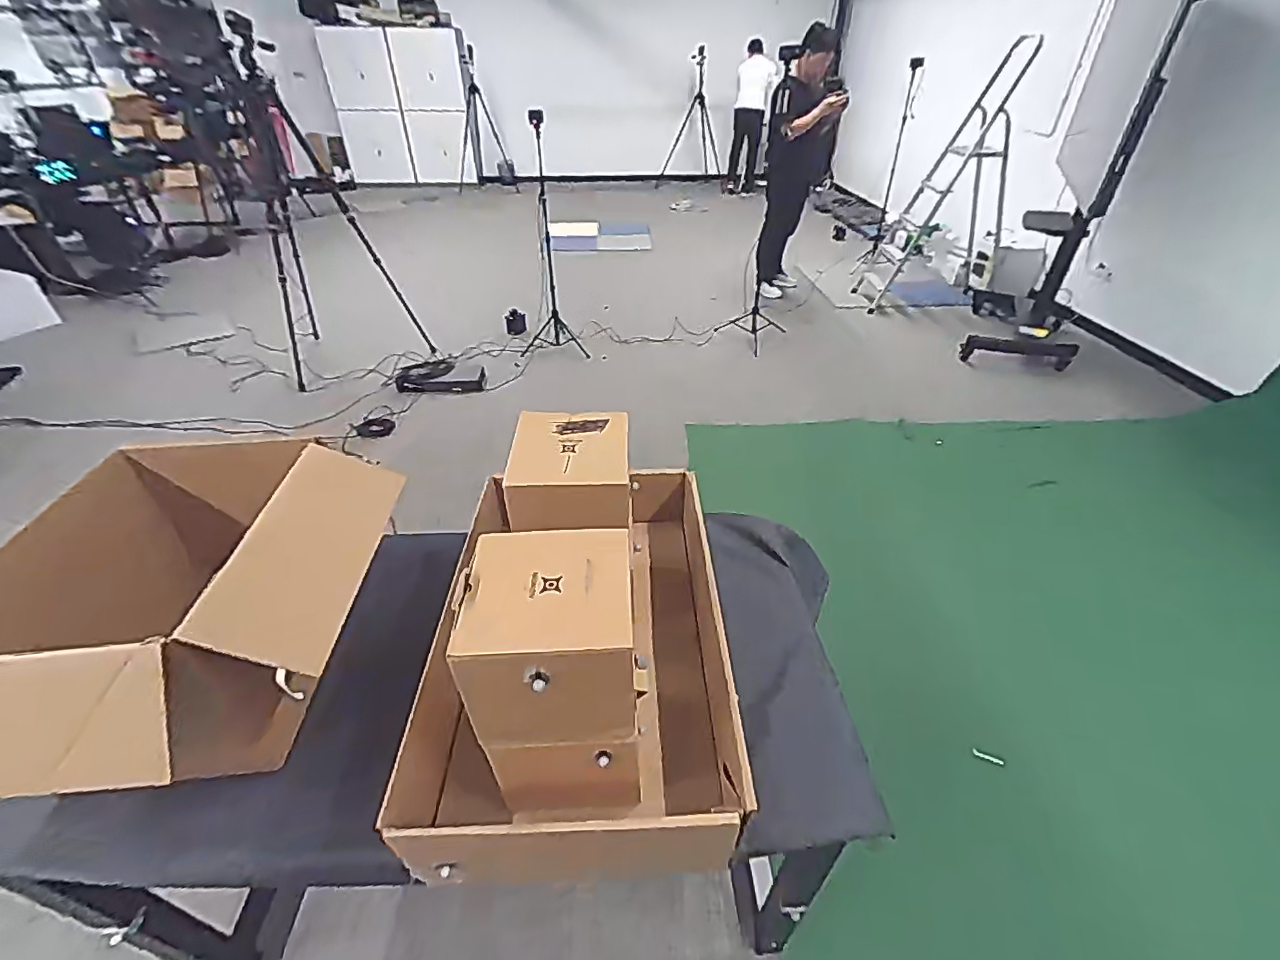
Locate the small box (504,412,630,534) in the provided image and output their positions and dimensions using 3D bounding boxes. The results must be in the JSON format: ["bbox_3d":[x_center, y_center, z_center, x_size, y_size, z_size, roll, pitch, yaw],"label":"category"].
[{"bbox_3d":[-0.099,0.015,0.817,0.168,0.176,0.179,0,41,-1],"label":"small box"}]

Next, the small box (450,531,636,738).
[{"bbox_3d":[-0.095,0.176,0.619,0.179,0.176,0.168,-1,39,-2],"label":"small box"}]
